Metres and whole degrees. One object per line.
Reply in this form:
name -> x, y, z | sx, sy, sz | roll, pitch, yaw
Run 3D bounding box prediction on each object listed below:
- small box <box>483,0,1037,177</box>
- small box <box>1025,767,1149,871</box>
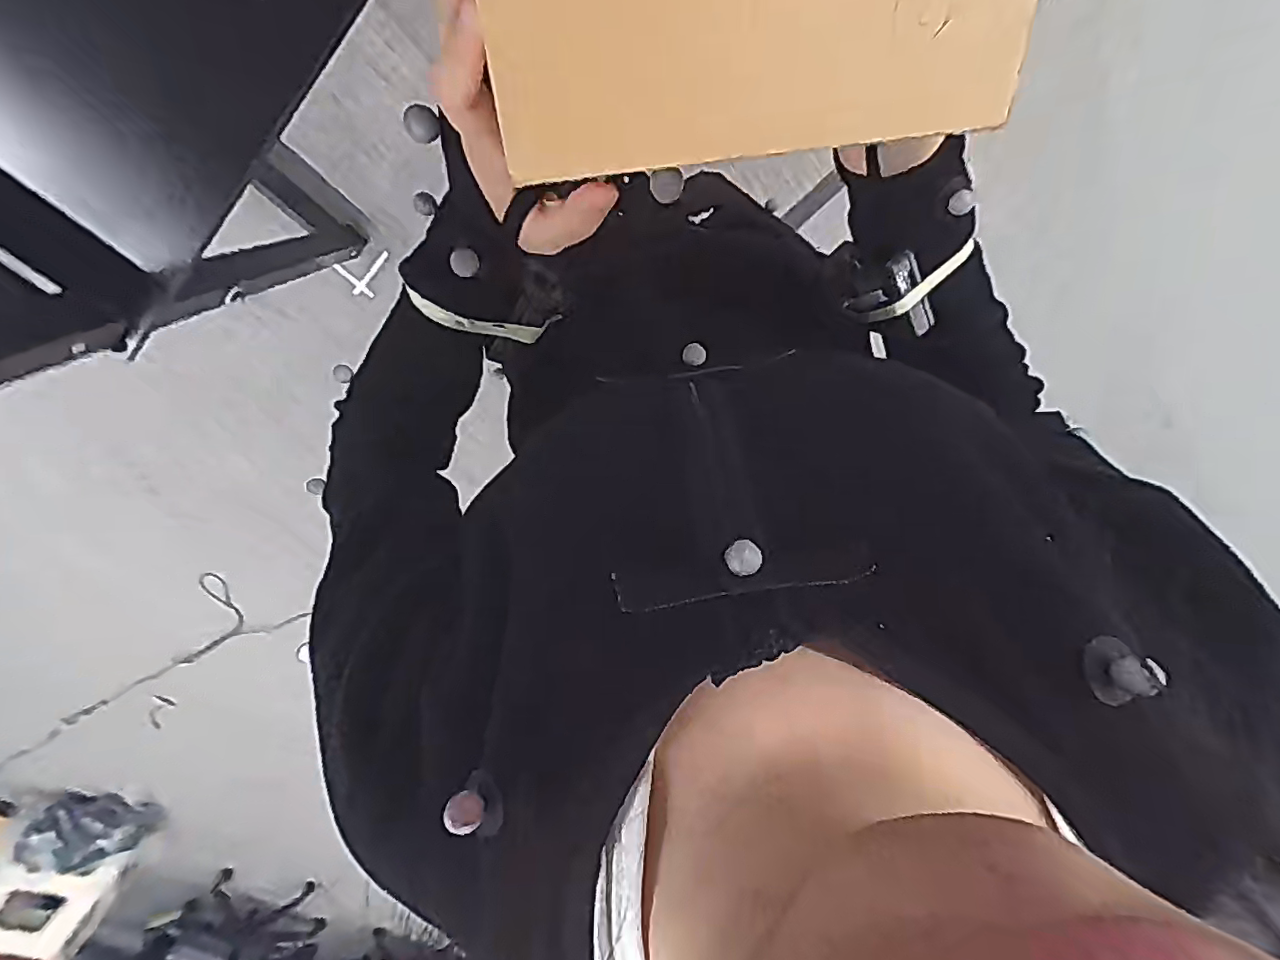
small box -> 0.027, -0.222, 0.201 | 0.168, 0.176, 0.179 | -7, 120, -2
small box -> 1.191, 0.898, 1.451 | 0.168, 0.176, 0.179 | -40, 113, 15
